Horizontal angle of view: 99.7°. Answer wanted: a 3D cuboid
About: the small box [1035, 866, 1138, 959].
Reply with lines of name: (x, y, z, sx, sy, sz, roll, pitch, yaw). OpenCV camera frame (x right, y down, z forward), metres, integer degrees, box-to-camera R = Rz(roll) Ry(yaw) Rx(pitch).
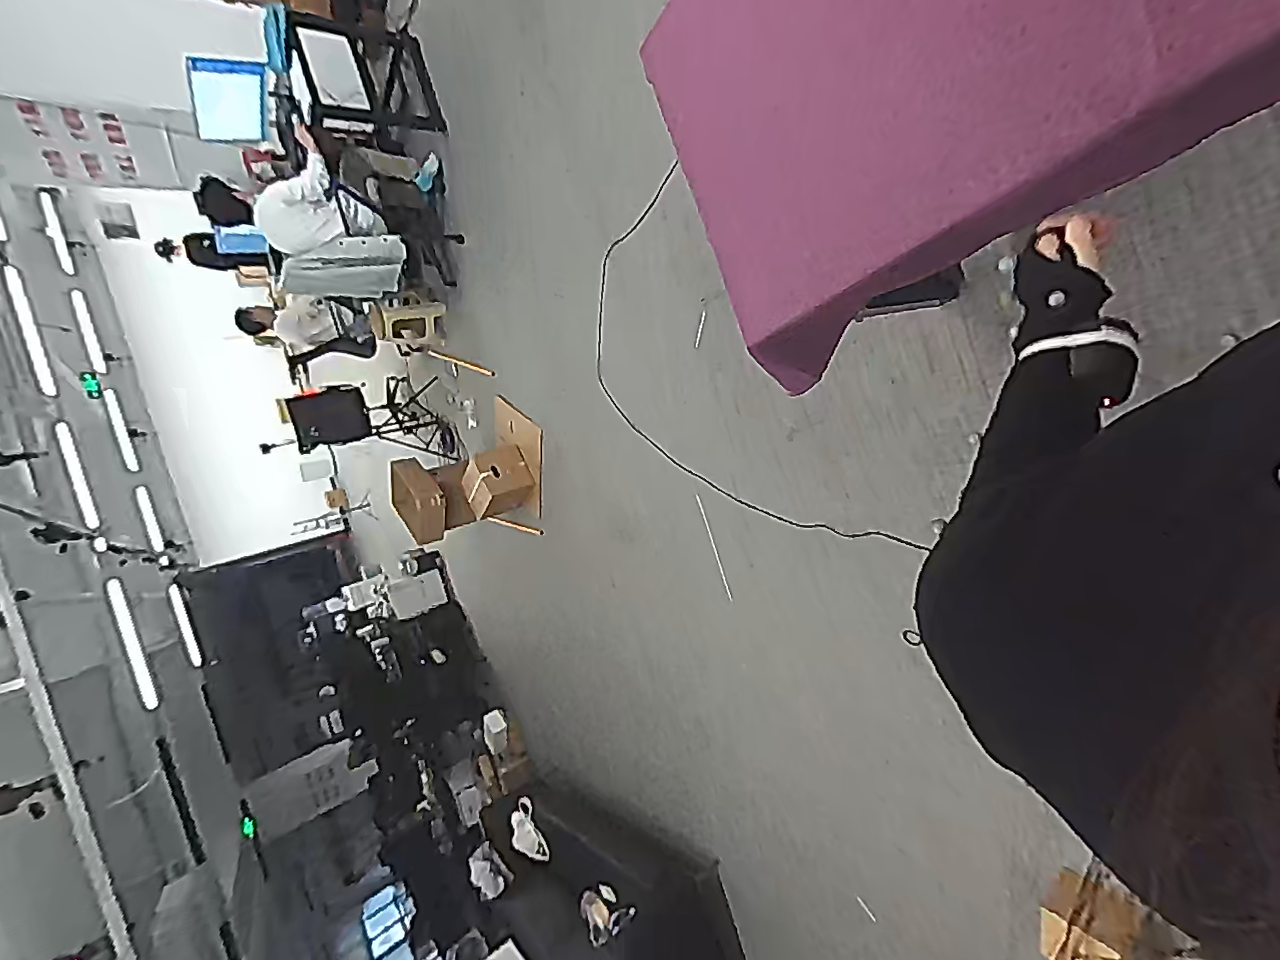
small box: (1.182, 1.185, 1.431, 0.179, 0.176, 0.168, 11, 113, 52)
